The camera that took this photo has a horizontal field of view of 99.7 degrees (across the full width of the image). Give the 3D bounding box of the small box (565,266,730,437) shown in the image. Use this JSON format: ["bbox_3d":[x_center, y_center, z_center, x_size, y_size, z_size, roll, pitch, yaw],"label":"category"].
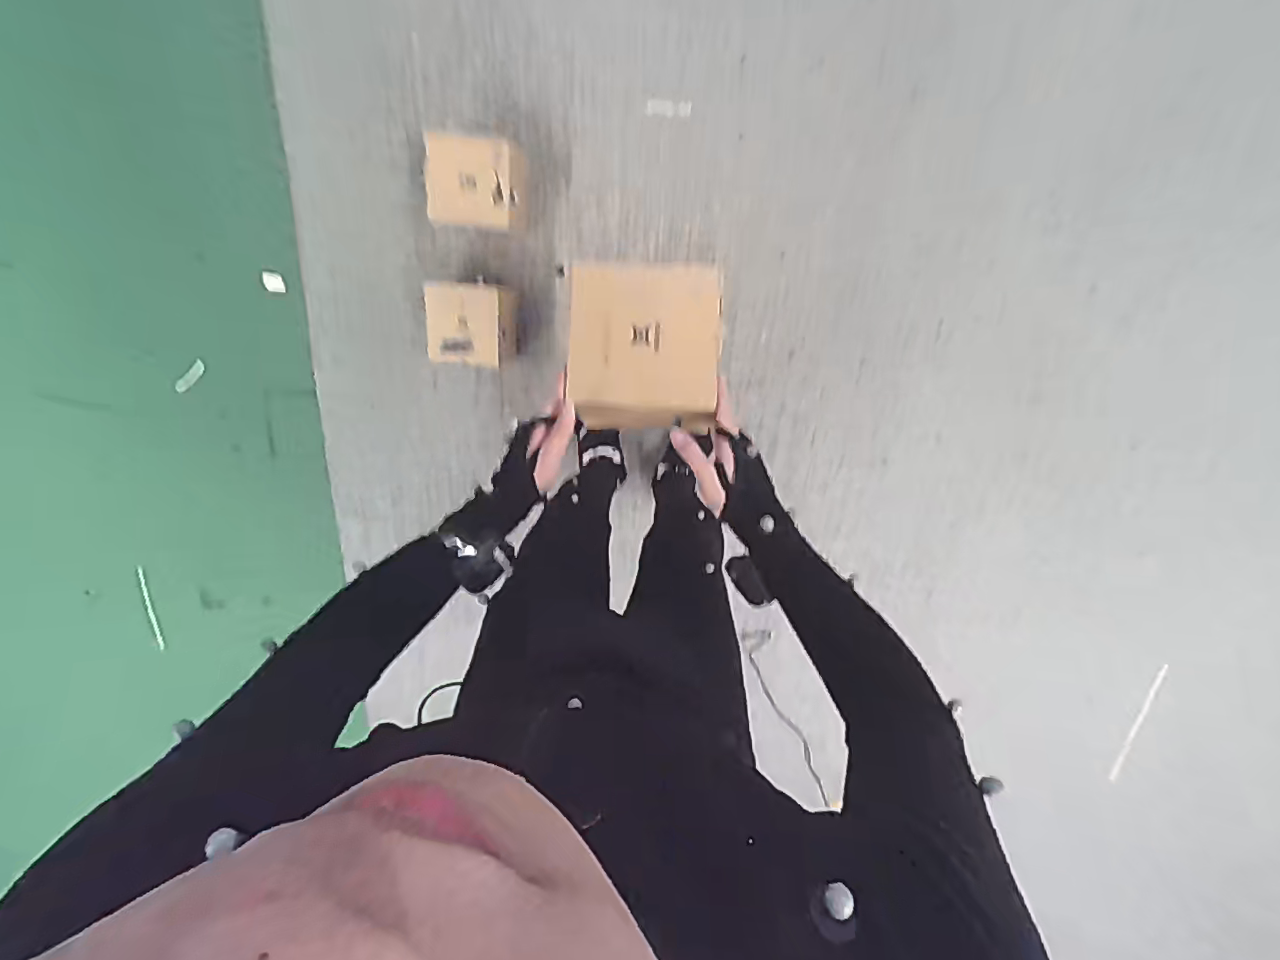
[{"bbox_3d":[0.012,-0.150,0.683,0.179,0.176,0.168,4,86,3],"label":"small box"}]

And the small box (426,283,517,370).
[{"bbox_3d":[-0.392,-0.368,1.283,0.168,0.176,0.179,5,110,0],"label":"small box"}]

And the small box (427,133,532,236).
[{"bbox_3d":[-0.347,-0.636,1.183,0.179,0.176,0.168,7,110,0],"label":"small box"}]
